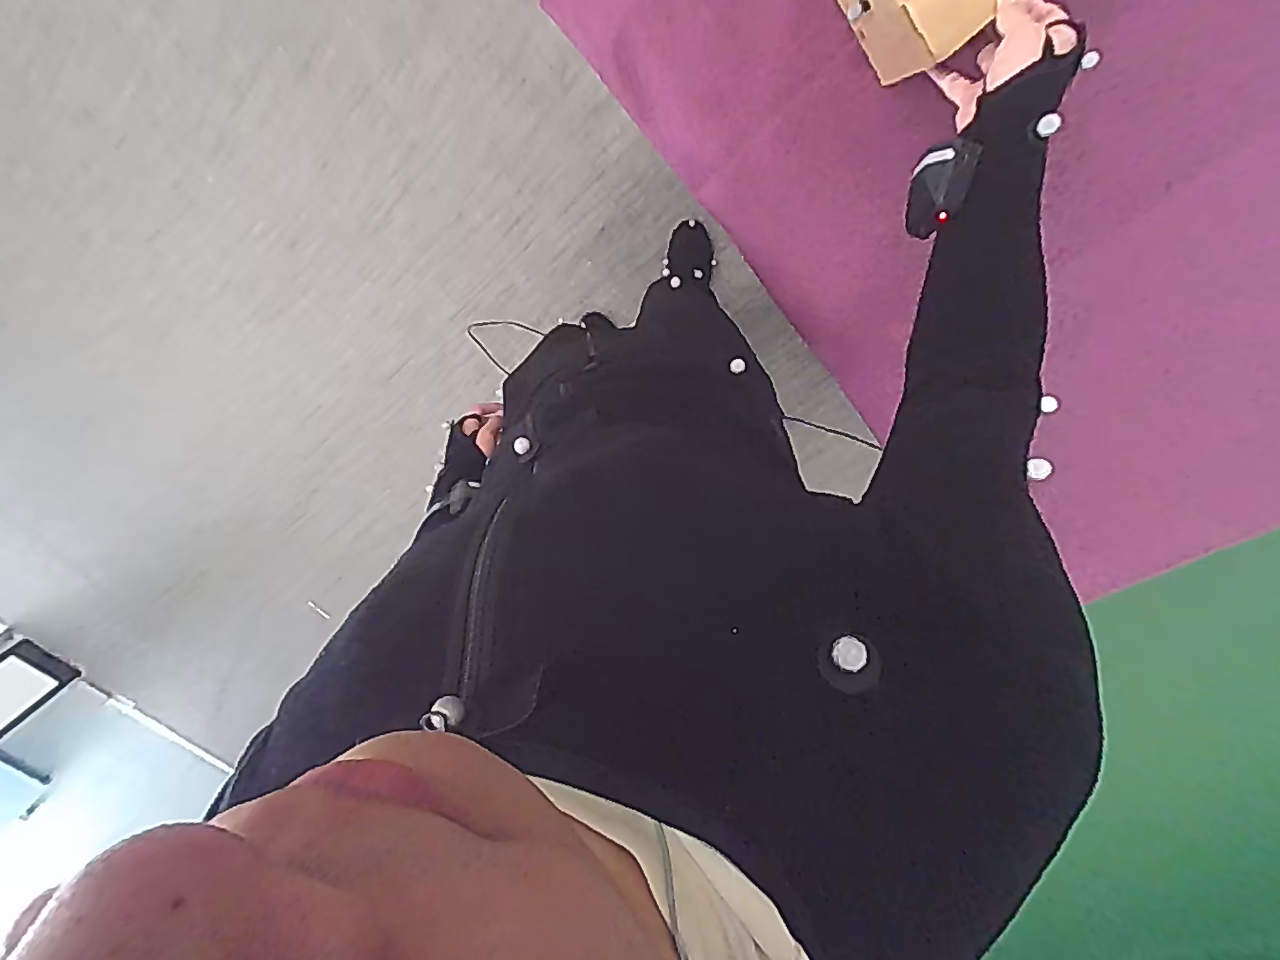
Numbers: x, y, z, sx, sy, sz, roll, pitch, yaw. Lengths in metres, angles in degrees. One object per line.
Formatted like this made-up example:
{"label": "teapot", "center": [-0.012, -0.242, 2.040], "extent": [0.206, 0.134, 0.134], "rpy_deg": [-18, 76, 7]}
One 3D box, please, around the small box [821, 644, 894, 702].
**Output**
{"label": "small box", "center": [0.790, 0.726, 1.981], "extent": [0.168, 0.176, 0.179], "rpy_deg": [-35, 111, 23]}

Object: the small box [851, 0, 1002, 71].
{"label": "small box", "center": [0.286, -0.519, 0.492], "extent": [0.179, 0.176, 0.168], "rpy_deg": [-35, 112, 25]}
